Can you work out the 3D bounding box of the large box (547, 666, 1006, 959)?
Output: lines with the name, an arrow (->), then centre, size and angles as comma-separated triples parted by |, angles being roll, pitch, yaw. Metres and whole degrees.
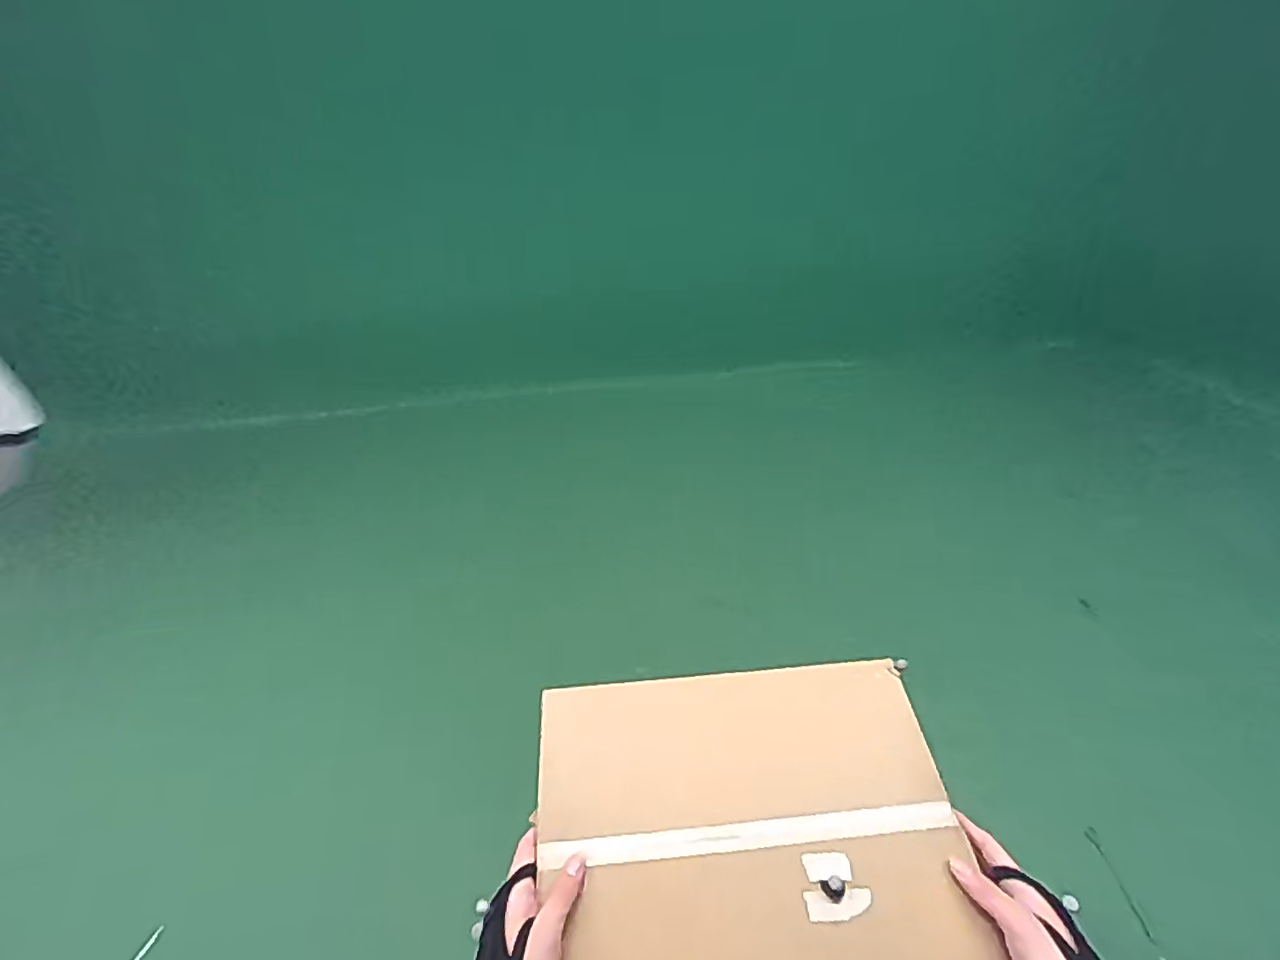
large box -> 0.112, 0.448, 0.641 | 0.408, 0.320, 0.320 | -4, 50, -2
